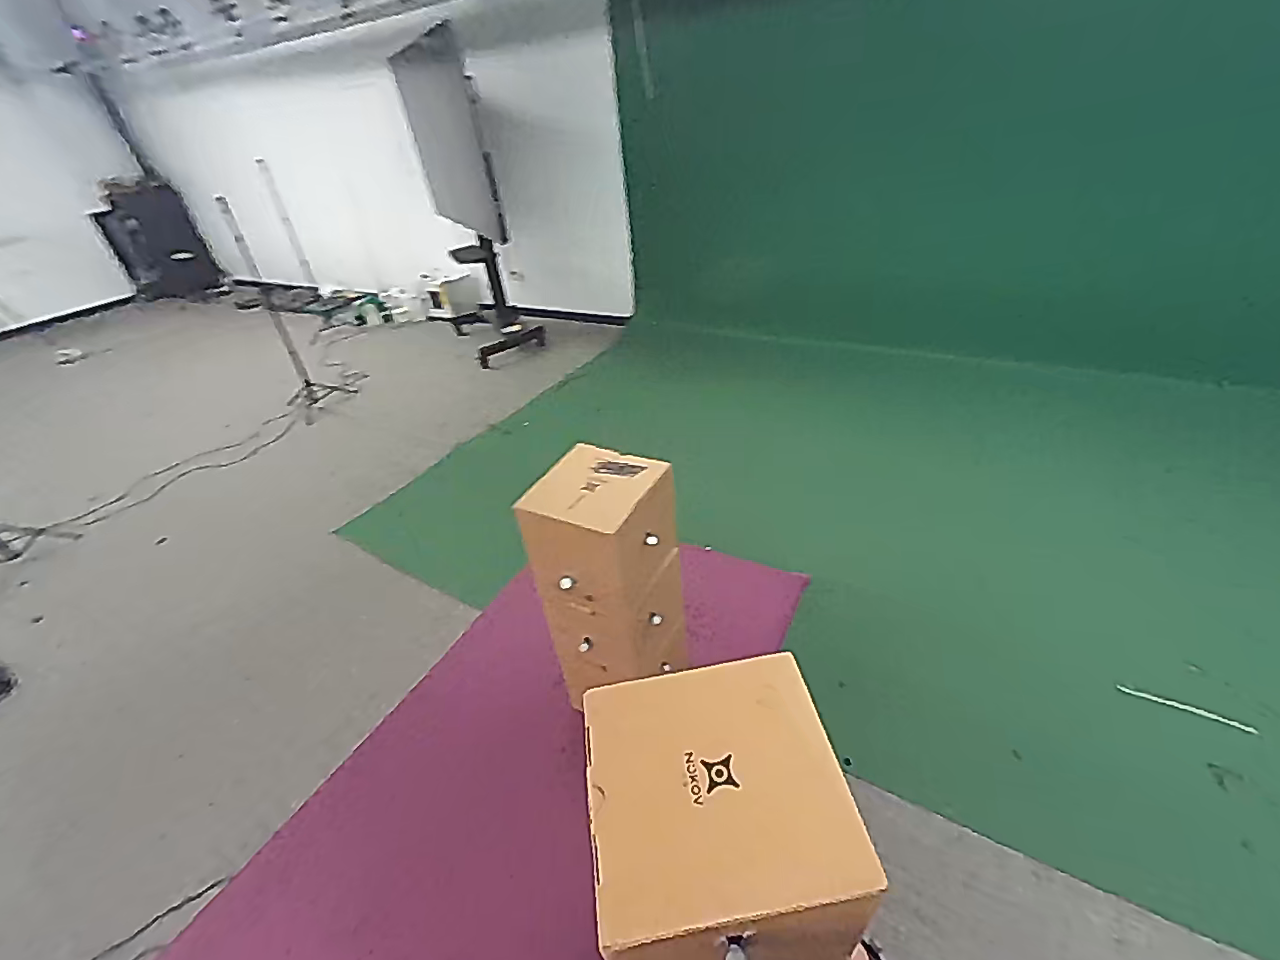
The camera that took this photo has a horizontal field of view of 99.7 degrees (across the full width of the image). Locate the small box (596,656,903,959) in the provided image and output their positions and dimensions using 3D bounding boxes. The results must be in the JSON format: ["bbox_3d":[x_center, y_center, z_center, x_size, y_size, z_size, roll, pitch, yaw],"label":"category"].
[{"bbox_3d":[0.068,0.267,0.423,0.179,0.176,0.168,-10,39,-1],"label":"small box"}]

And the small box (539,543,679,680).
[{"bbox_3d":[-0.041,0.202,0.913,0.168,0.176,0.179,15,42,25],"label":"small box"}]

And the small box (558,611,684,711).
[{"bbox_3d":[-0.024,0.334,1.008,0.168,0.176,0.179,15,41,27],"label":"small box"}]

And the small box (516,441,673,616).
[{"bbox_3d":[-0.057,0.069,0.818,0.168,0.176,0.179,14,41,25],"label":"small box"}]
